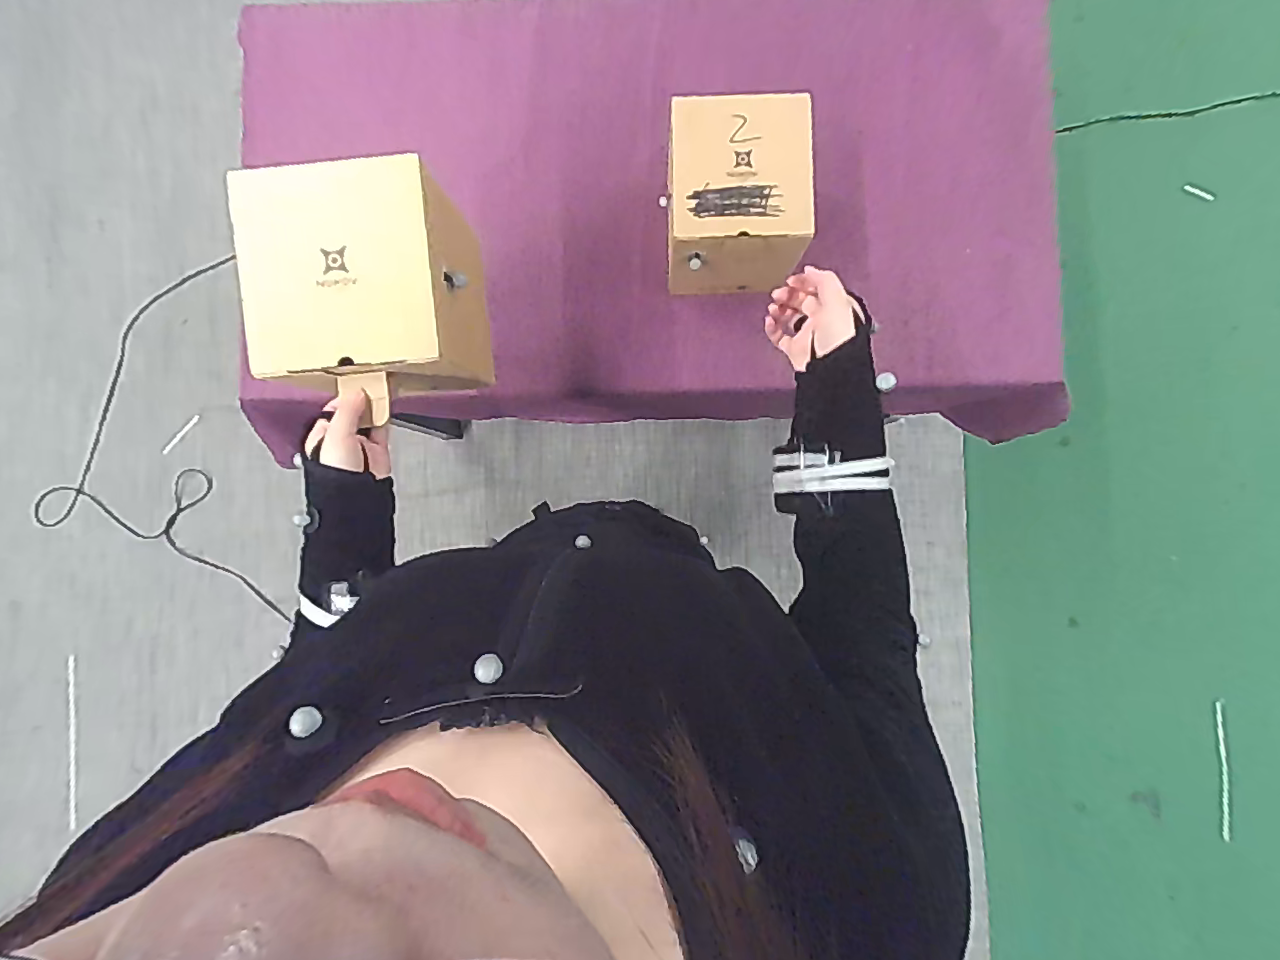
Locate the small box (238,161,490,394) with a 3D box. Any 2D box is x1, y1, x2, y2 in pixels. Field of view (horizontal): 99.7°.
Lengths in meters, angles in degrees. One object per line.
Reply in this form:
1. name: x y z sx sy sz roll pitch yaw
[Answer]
1. small box: -0.263 -0.191 0.555 0.168 0.176 0.179 -5 93 0
